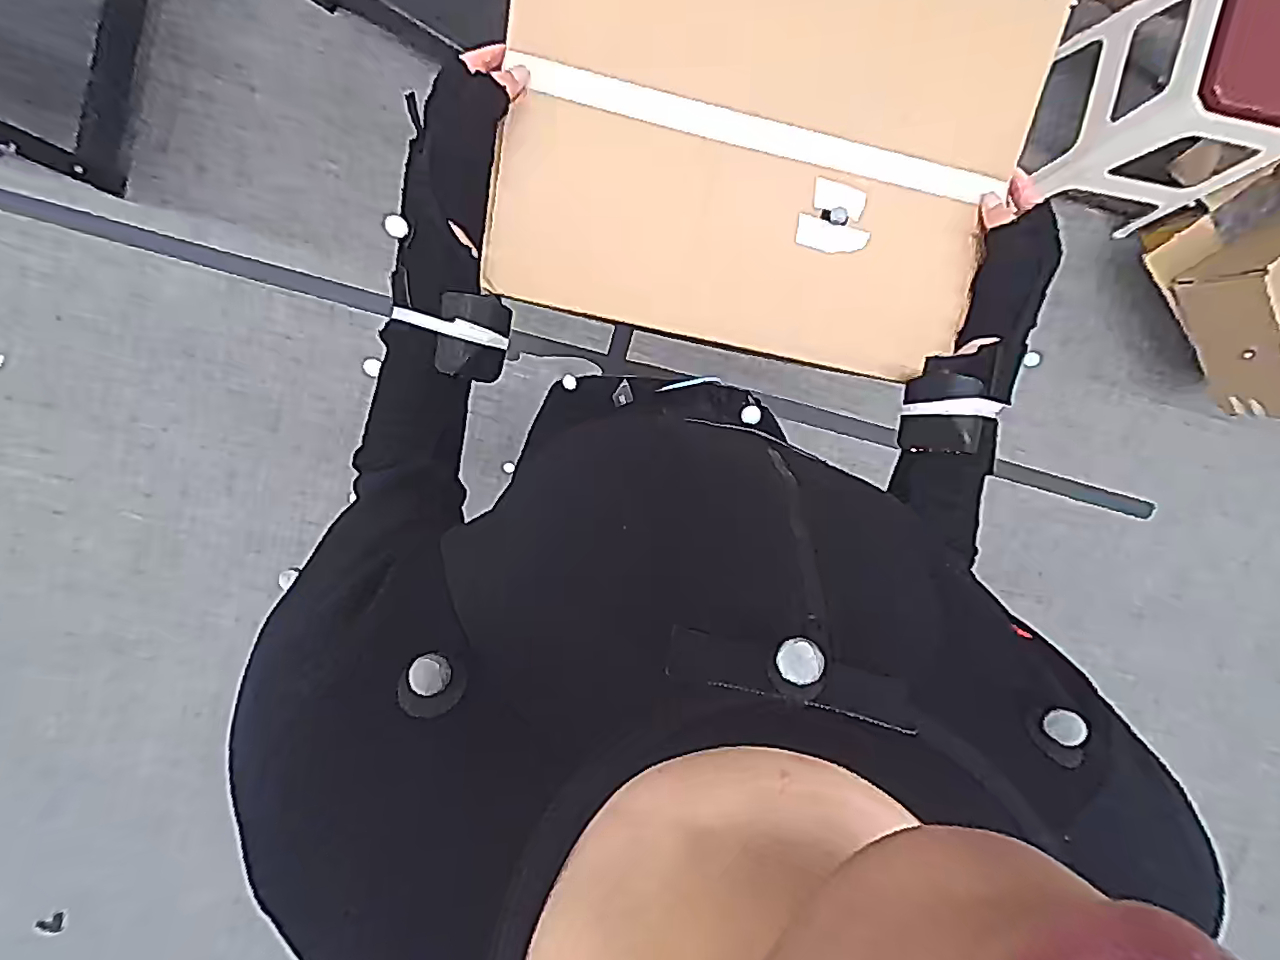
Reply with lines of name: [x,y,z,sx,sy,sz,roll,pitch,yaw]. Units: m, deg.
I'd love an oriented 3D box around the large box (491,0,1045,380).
large box: [0.082,-0.306,0.575,0.408,0.320,0.320,10,105,-8]
